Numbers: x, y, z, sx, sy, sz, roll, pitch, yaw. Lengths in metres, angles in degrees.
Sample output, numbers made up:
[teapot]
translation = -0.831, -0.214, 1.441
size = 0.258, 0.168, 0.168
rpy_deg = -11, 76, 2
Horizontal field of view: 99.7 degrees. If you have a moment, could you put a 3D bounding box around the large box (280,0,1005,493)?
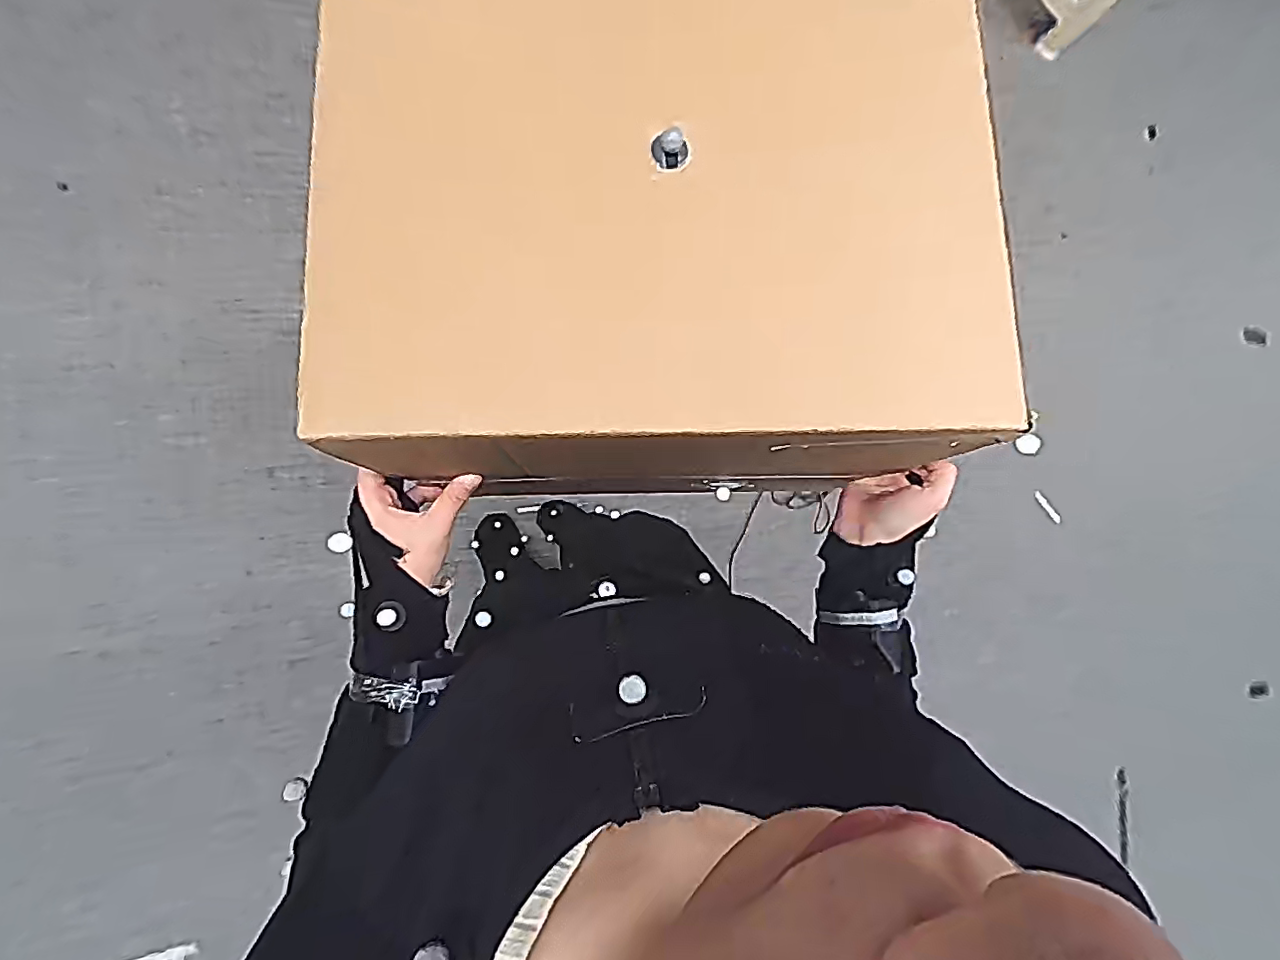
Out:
[large box]
translation = -0.009, -0.166, 0.458
size = 0.408, 0.320, 0.320
rpy_deg = -3, 85, -3
